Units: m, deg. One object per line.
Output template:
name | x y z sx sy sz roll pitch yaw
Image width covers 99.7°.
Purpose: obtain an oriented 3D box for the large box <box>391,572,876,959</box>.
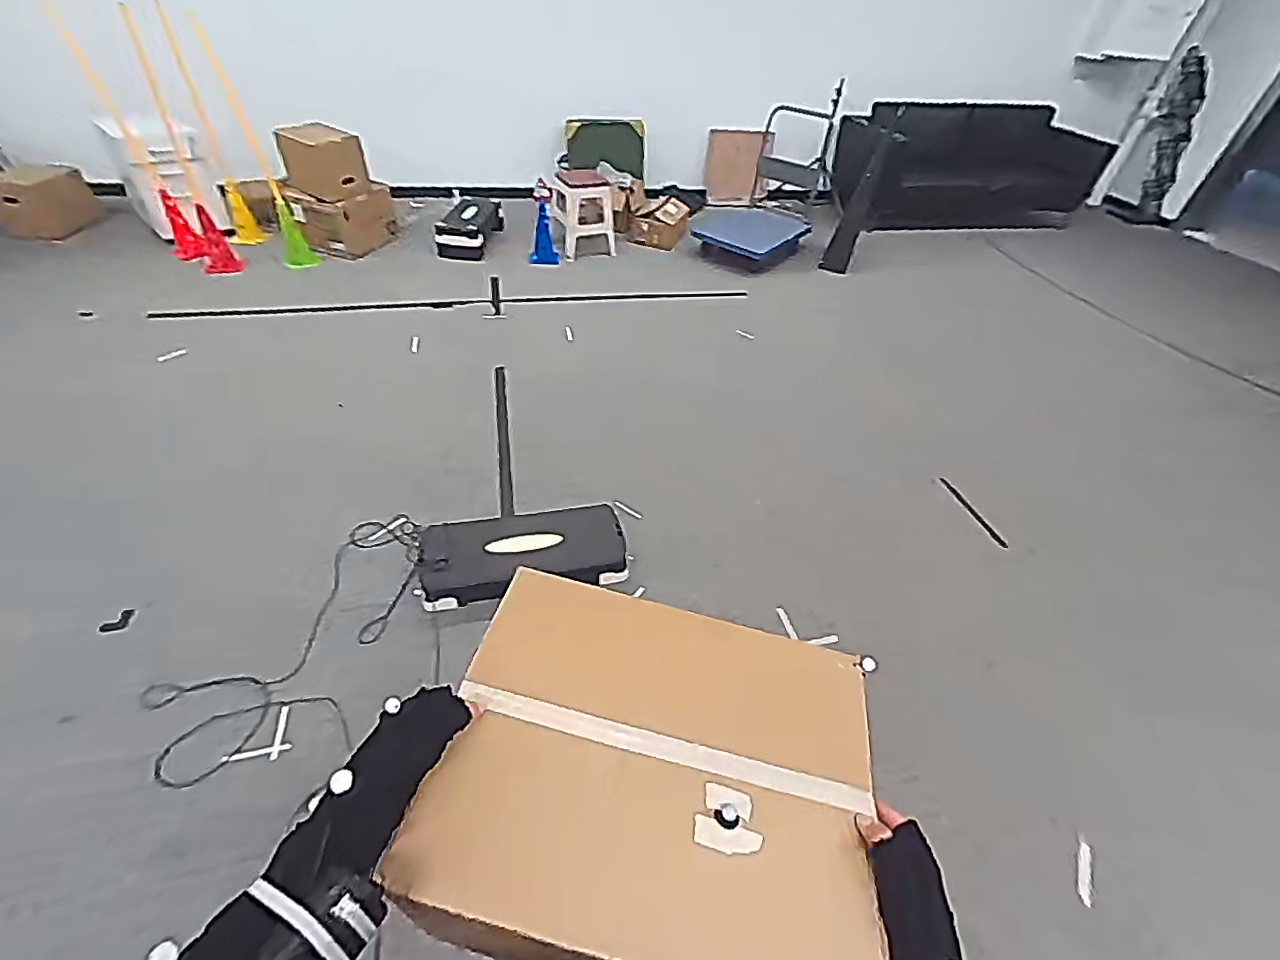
large box | -0.003 0.360 0.630 0.408 0.320 0.320 14 44 3
